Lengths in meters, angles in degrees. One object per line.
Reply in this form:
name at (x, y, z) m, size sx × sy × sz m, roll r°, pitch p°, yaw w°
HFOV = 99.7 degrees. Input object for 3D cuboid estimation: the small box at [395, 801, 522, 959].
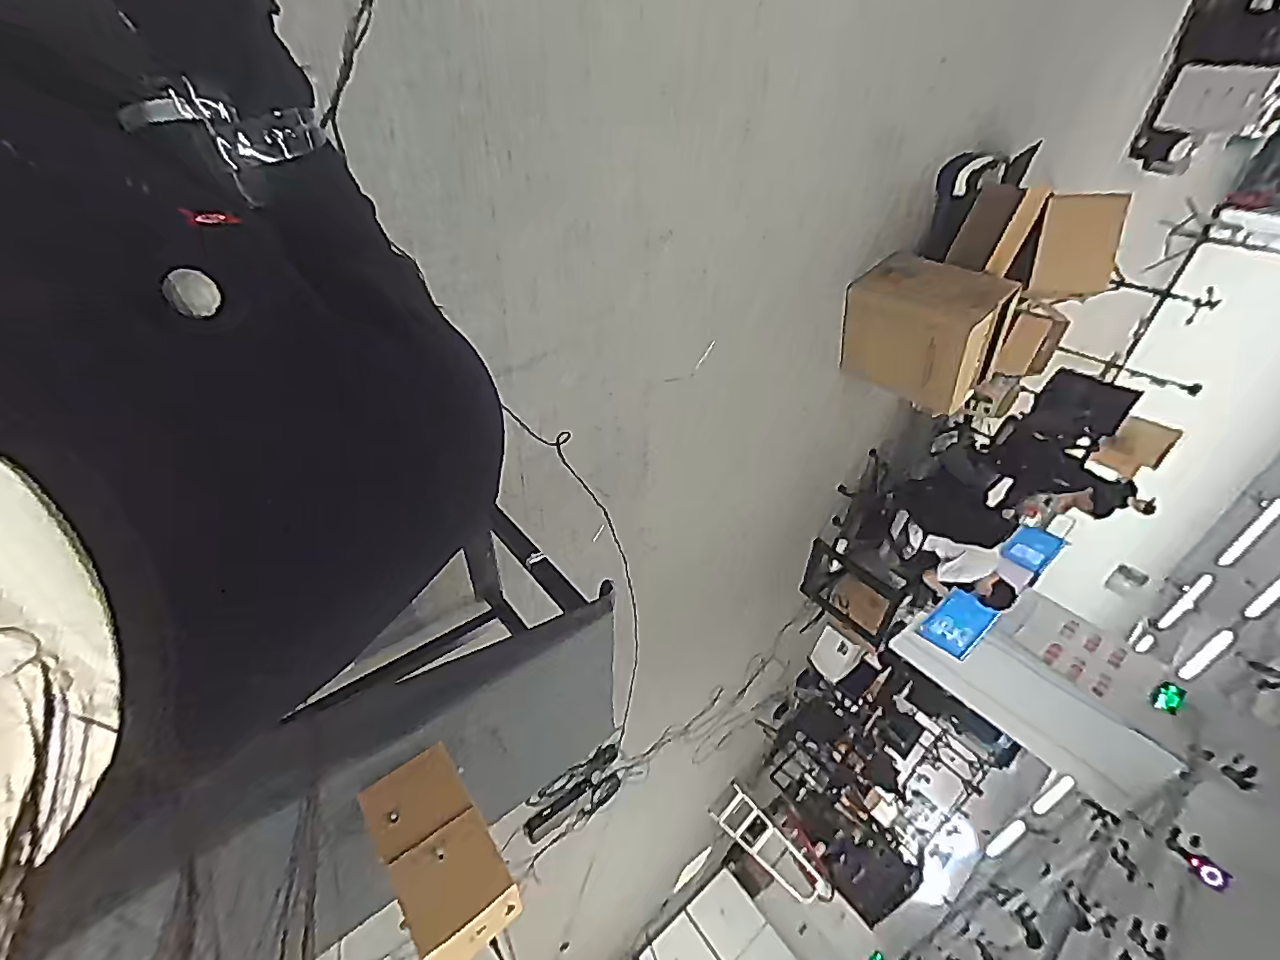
small box at (-0.344, 0.762, 1.022) m, size 0.179 × 0.176 × 0.168 m, roll -24°, pitch 136°, yaw -32°

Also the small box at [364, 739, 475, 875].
small box at (-0.449, 0.686, 1.123) m, size 0.179 × 0.176 × 0.168 m, roll -28°, pitch 139°, yaw -31°
